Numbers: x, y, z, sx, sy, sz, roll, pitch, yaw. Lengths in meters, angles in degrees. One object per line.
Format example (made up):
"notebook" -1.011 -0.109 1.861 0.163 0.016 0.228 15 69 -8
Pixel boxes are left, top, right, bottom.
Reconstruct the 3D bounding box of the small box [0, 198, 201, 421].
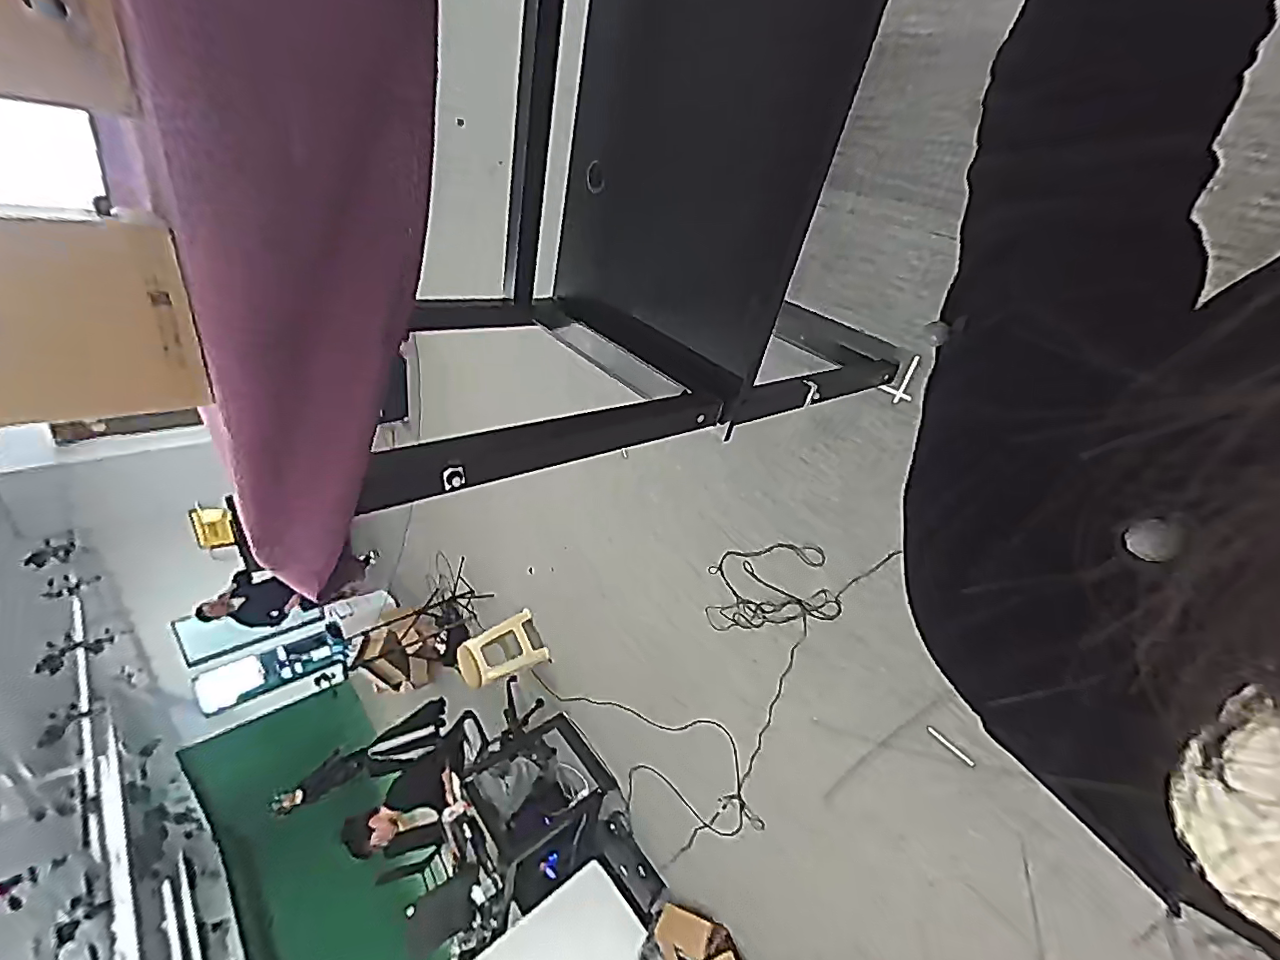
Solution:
"small box" -0.535 -0.162 0.501 0.179 0.176 0.168 31 126 40

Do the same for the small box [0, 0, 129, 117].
"small box" -0.510 -0.383 0.395 0.179 0.176 0.168 38 130 35
